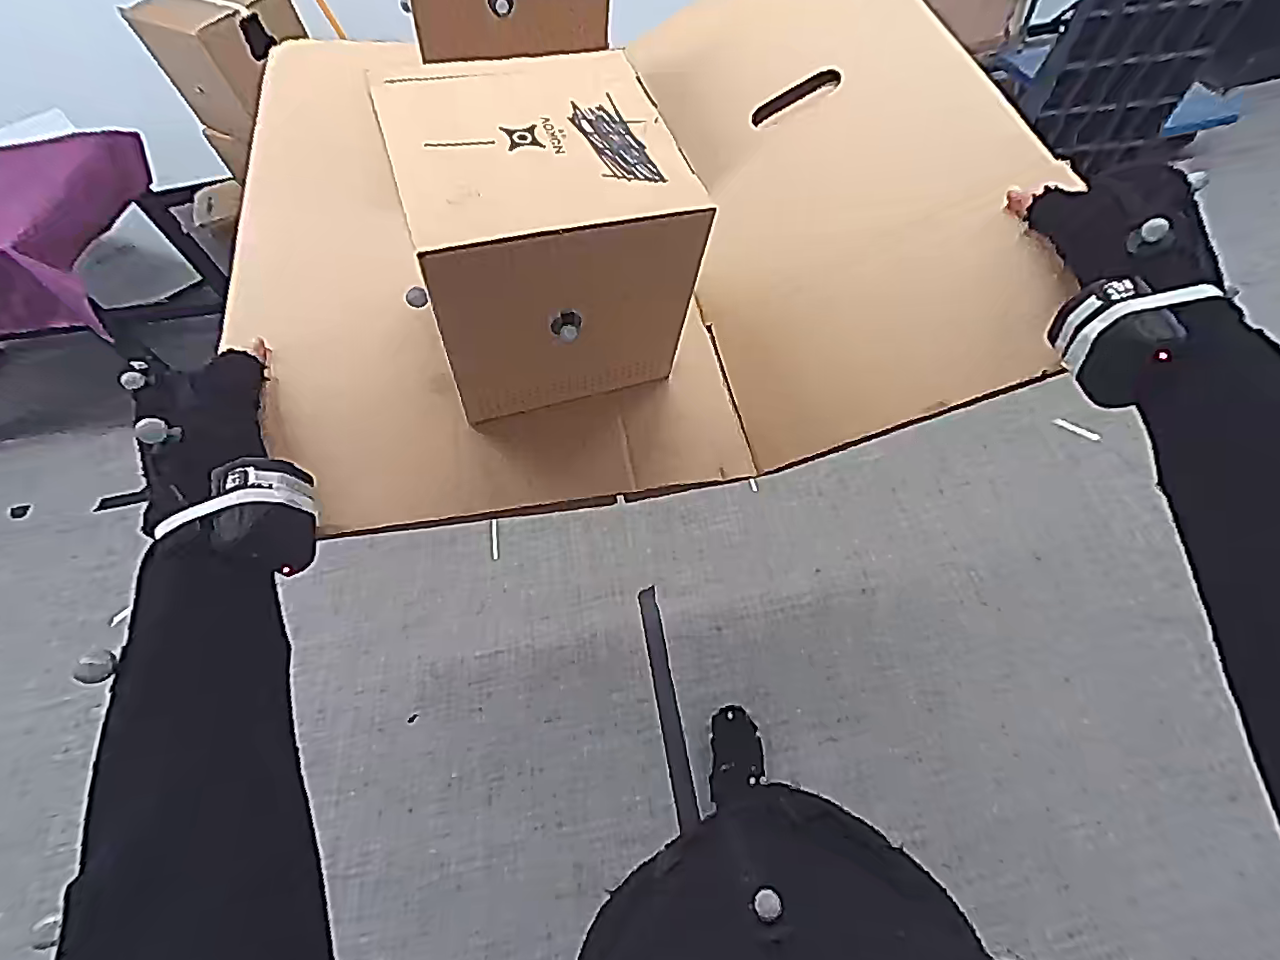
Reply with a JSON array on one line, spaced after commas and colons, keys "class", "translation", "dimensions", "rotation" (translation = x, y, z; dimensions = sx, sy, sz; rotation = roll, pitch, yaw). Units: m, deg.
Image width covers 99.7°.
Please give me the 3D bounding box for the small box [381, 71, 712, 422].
[{"class": "small box", "translation": [-0.071, -0.168, 0.414], "dimensions": [0.179, 0.176, 0.168], "rotation": [-16, 67, -14]}]
